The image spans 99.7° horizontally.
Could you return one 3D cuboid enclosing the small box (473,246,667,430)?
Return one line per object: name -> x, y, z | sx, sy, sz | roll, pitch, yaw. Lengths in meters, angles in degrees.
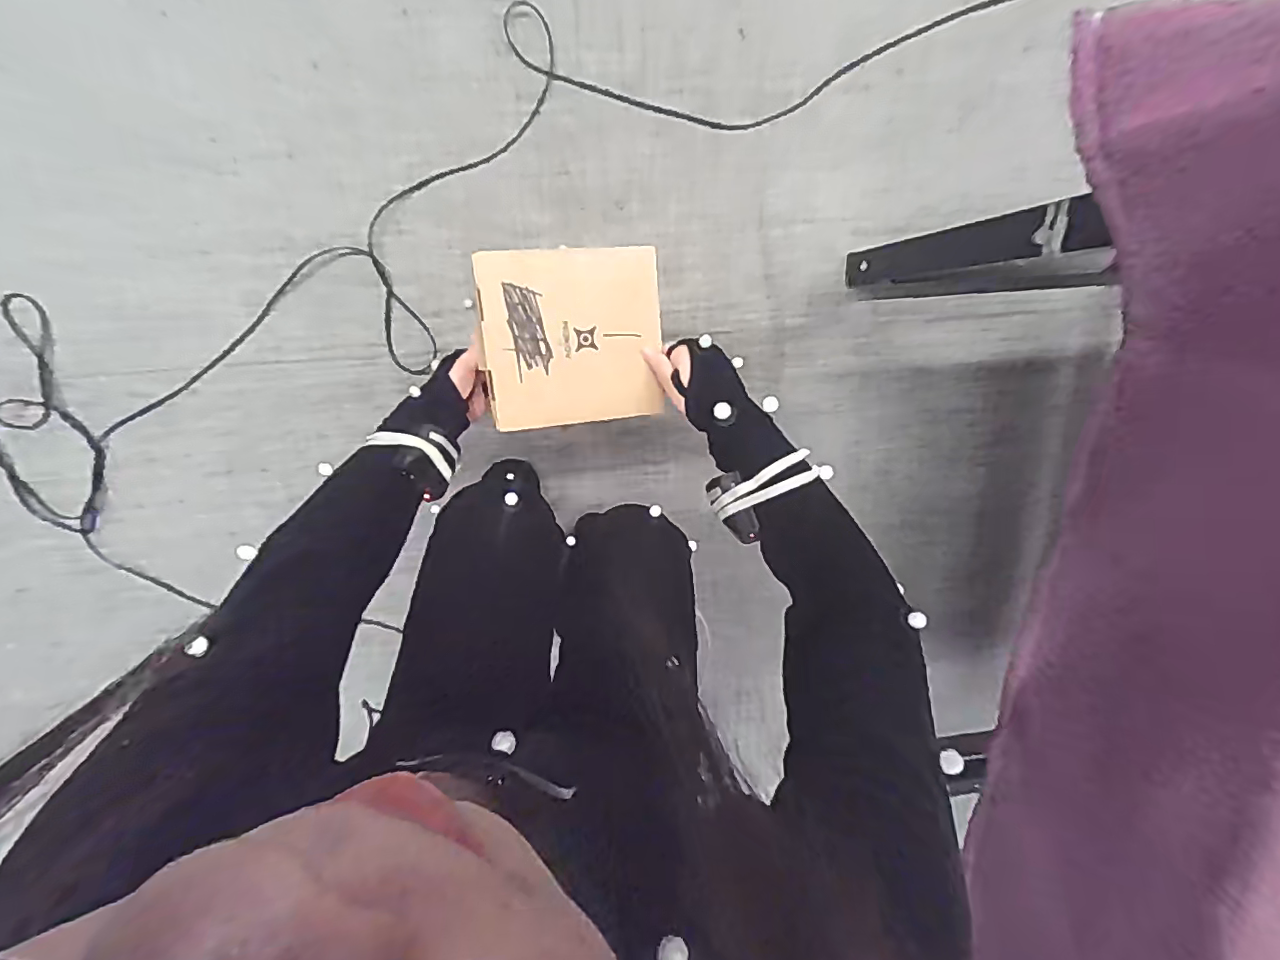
small box -> -0.083, -0.153, 0.594 | 0.179, 0.176, 0.168 | -9, 106, -17
